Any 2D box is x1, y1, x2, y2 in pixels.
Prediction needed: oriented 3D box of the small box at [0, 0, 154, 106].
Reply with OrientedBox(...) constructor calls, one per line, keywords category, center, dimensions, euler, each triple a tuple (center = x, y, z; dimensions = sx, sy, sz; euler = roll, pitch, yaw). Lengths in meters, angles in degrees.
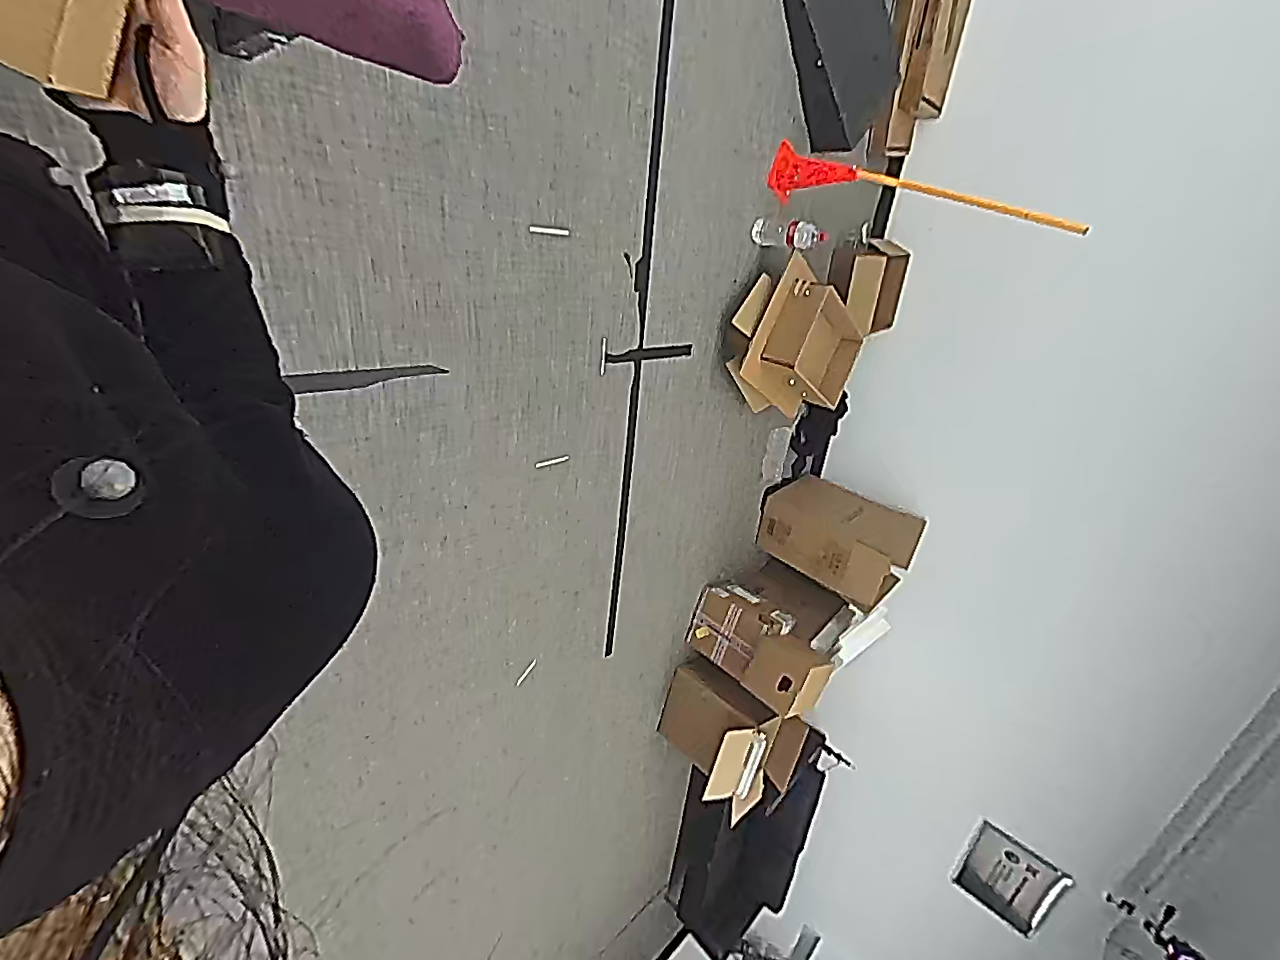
OrientedBox(category="small box", center=(-0.319, -0.300, 0.231), dimensions=(0.168, 0.176, 0.179), euler=(16, 106, -42))
